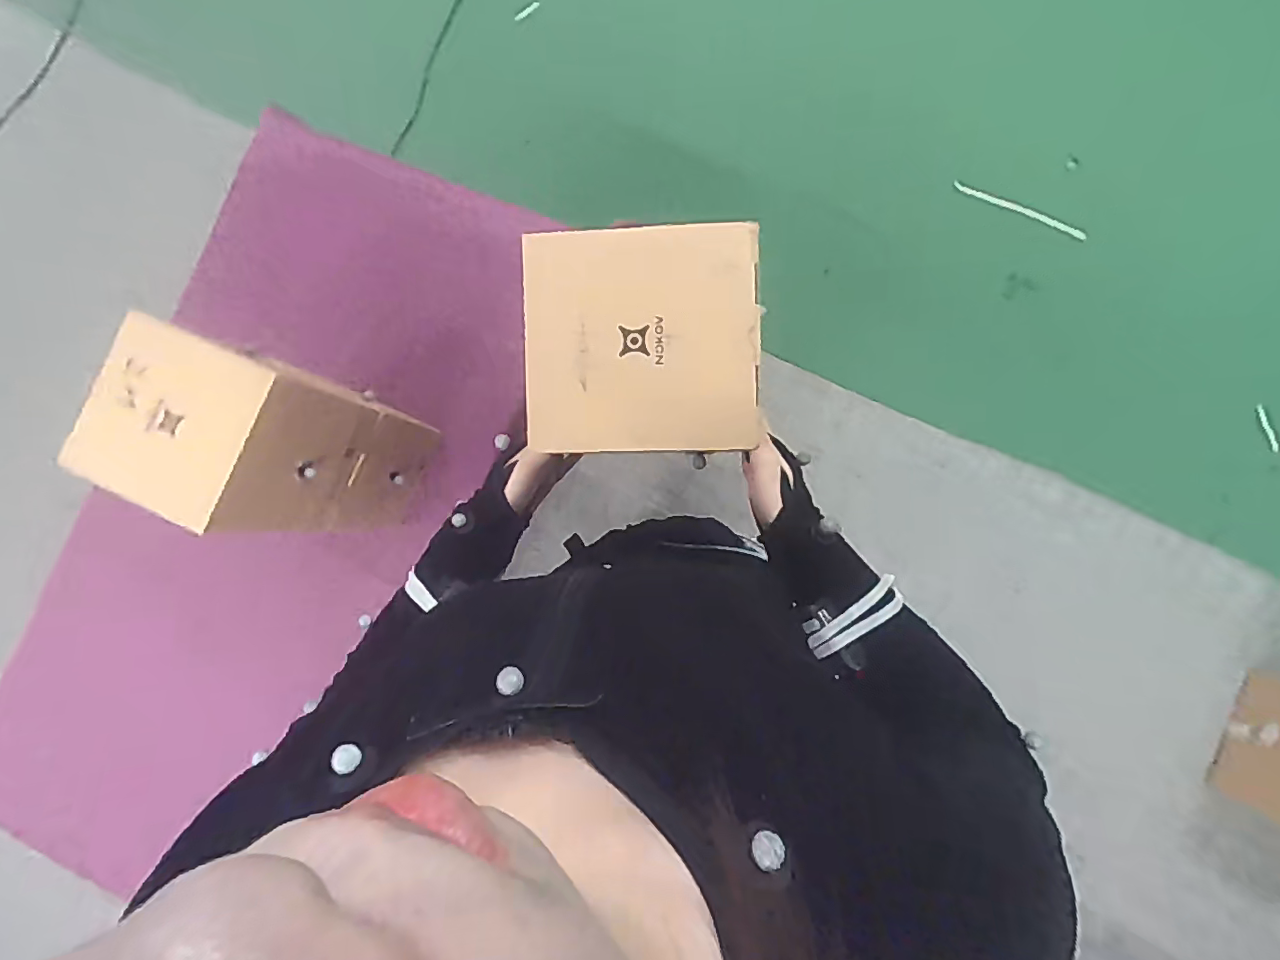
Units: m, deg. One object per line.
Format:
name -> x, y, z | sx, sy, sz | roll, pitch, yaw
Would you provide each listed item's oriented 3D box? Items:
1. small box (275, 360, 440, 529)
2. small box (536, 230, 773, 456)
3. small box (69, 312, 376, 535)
small box -> -0.415, -0.043, 0.757 | 0.179, 0.176, 0.168 | 24, 88, 6
small box -> 0.015, -0.106, 0.481 | 0.179, 0.176, 0.168 | 1, 93, 6
small box -> -0.432, -0.052, 0.592 | 0.179, 0.176, 0.168 | 23, 88, 7
